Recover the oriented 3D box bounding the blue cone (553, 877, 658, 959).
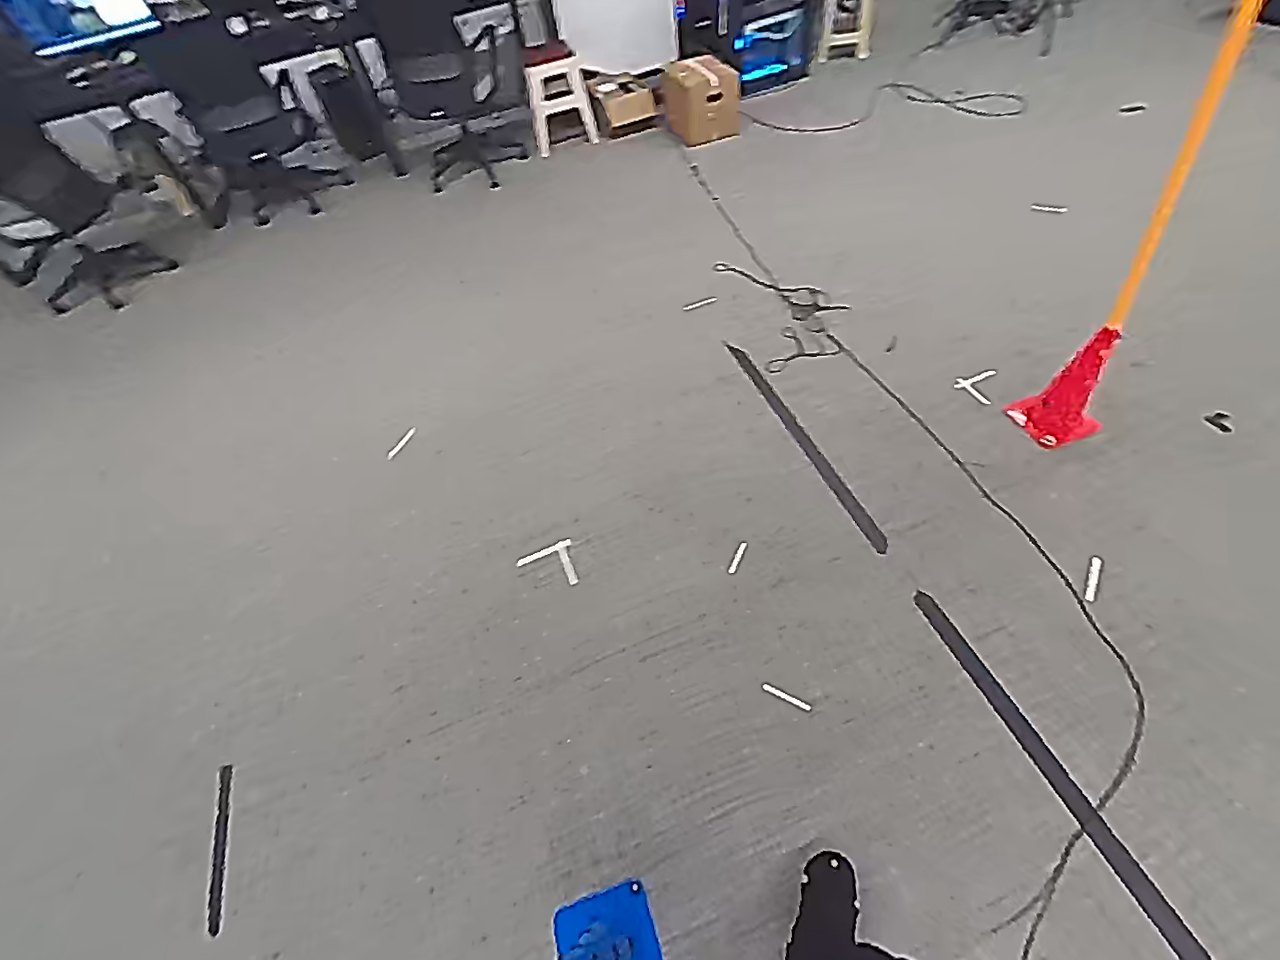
[{"bbox_3d":[-0.088,0.835,0.949,0.193,0.380,0.192,-18,52,-5],"label":"blue cone"}]
